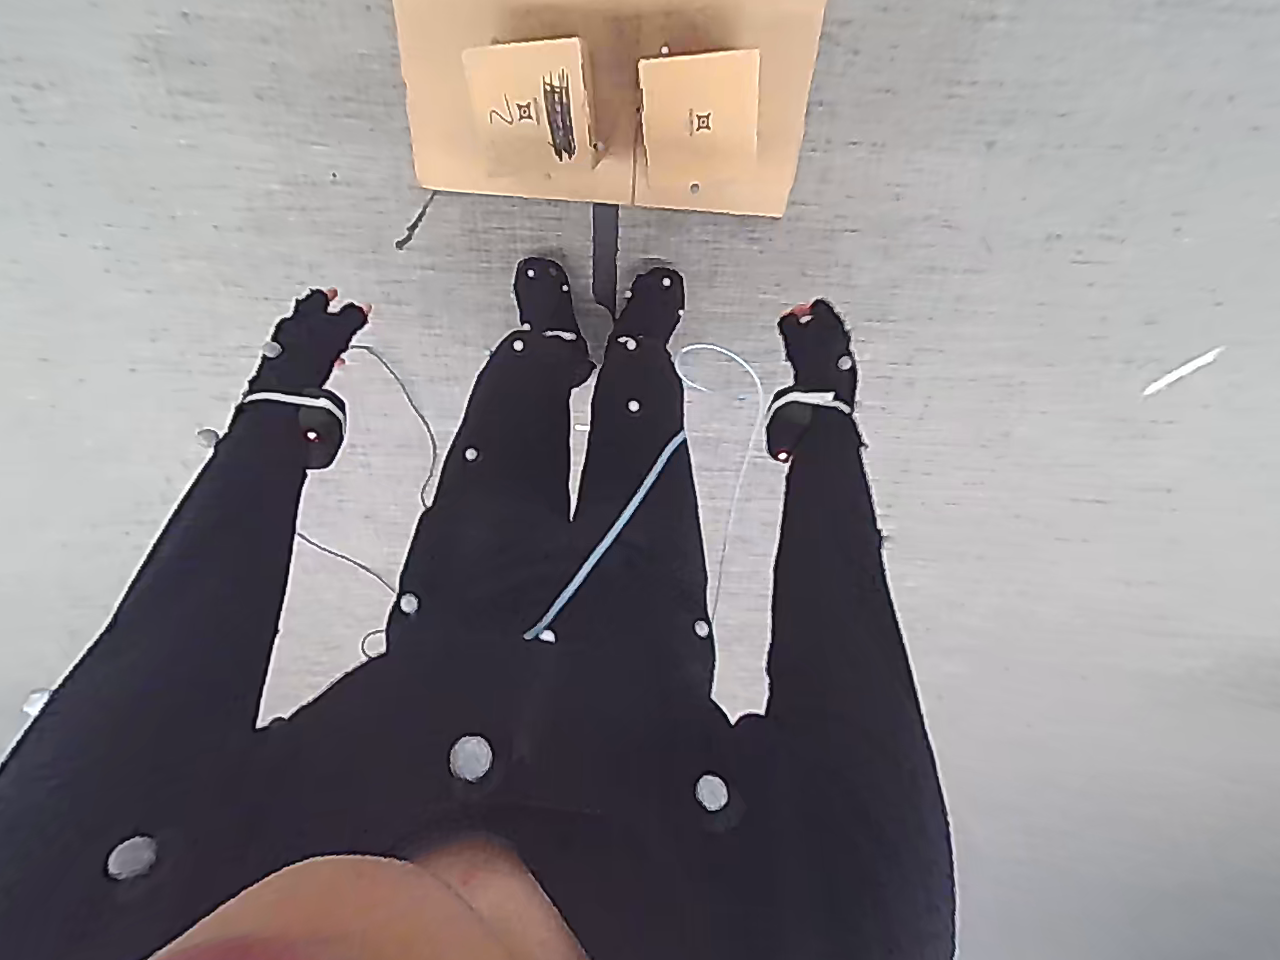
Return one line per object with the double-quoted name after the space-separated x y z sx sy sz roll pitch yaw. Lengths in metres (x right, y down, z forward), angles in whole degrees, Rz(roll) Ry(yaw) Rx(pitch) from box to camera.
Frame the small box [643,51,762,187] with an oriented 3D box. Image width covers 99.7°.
0.097 -0.590 0.889 0.179 0.176 0.168 -3 124 4 "small box"
